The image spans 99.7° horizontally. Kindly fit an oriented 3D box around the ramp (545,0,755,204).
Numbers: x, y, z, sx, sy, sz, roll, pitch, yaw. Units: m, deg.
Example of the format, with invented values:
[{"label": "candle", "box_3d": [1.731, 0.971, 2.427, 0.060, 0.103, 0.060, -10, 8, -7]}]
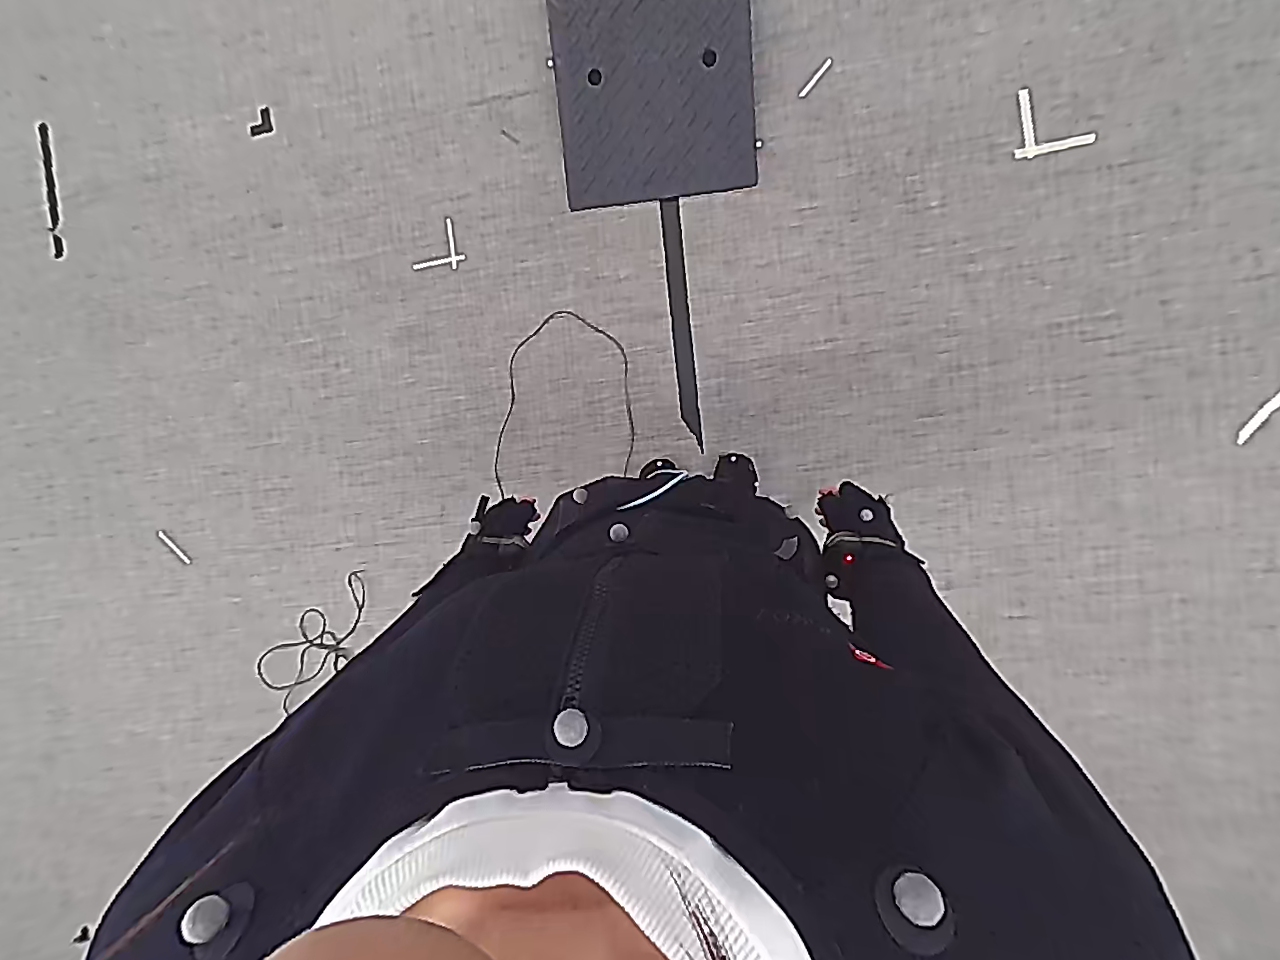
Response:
[{"label": "ramp", "box_3d": [0.007, -1.225, 1.281, 0.509, 0.206, 0.991, -6, 94, 7]}]
